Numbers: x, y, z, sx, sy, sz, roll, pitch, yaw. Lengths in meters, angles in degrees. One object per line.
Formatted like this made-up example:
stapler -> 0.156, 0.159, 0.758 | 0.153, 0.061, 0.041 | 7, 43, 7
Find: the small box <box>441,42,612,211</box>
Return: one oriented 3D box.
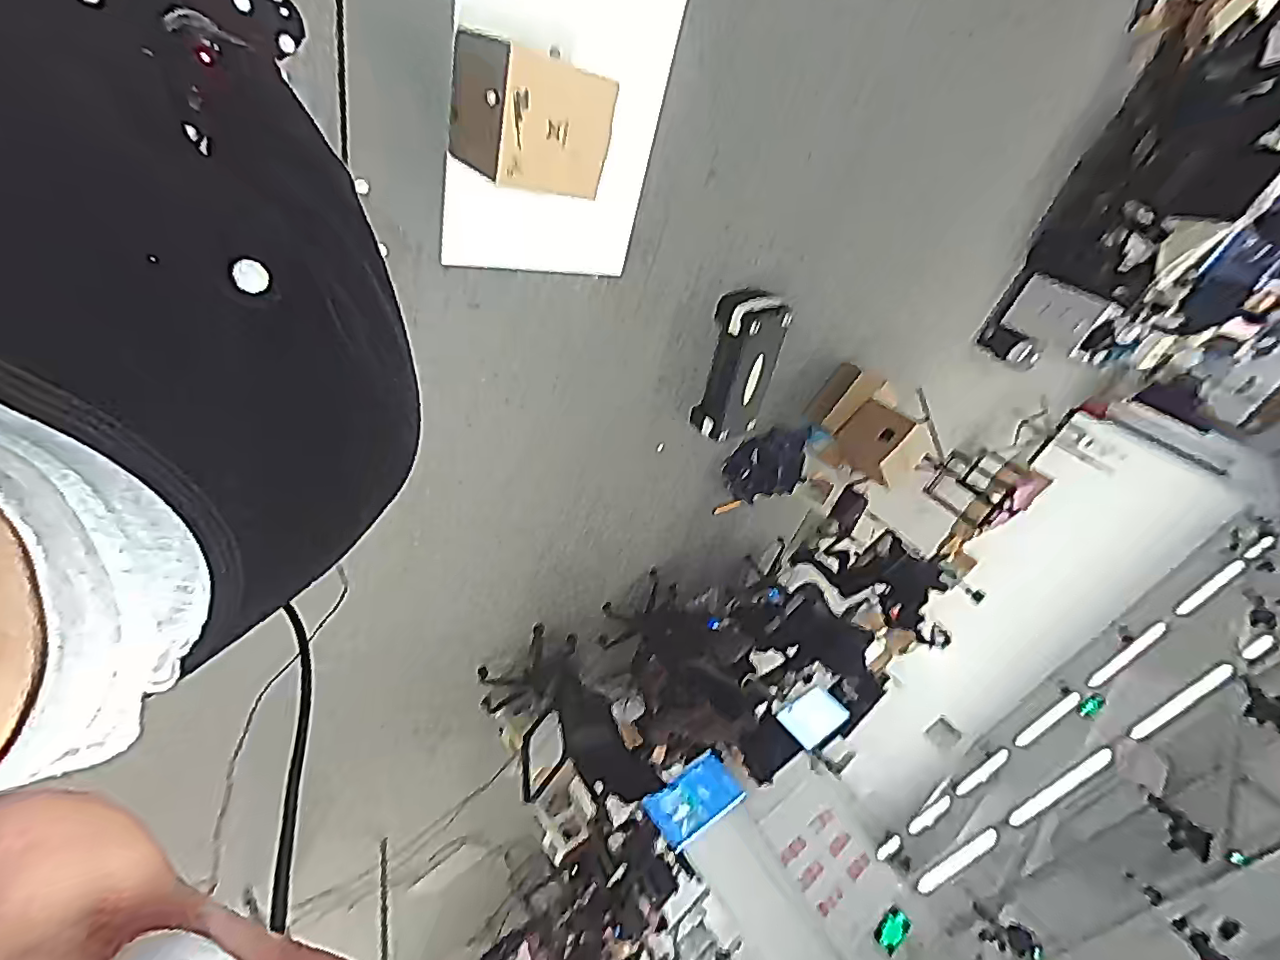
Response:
small box -> -0.174, -0.524, 0.810 | 0.179, 0.176, 0.168 | -14, 135, -40
